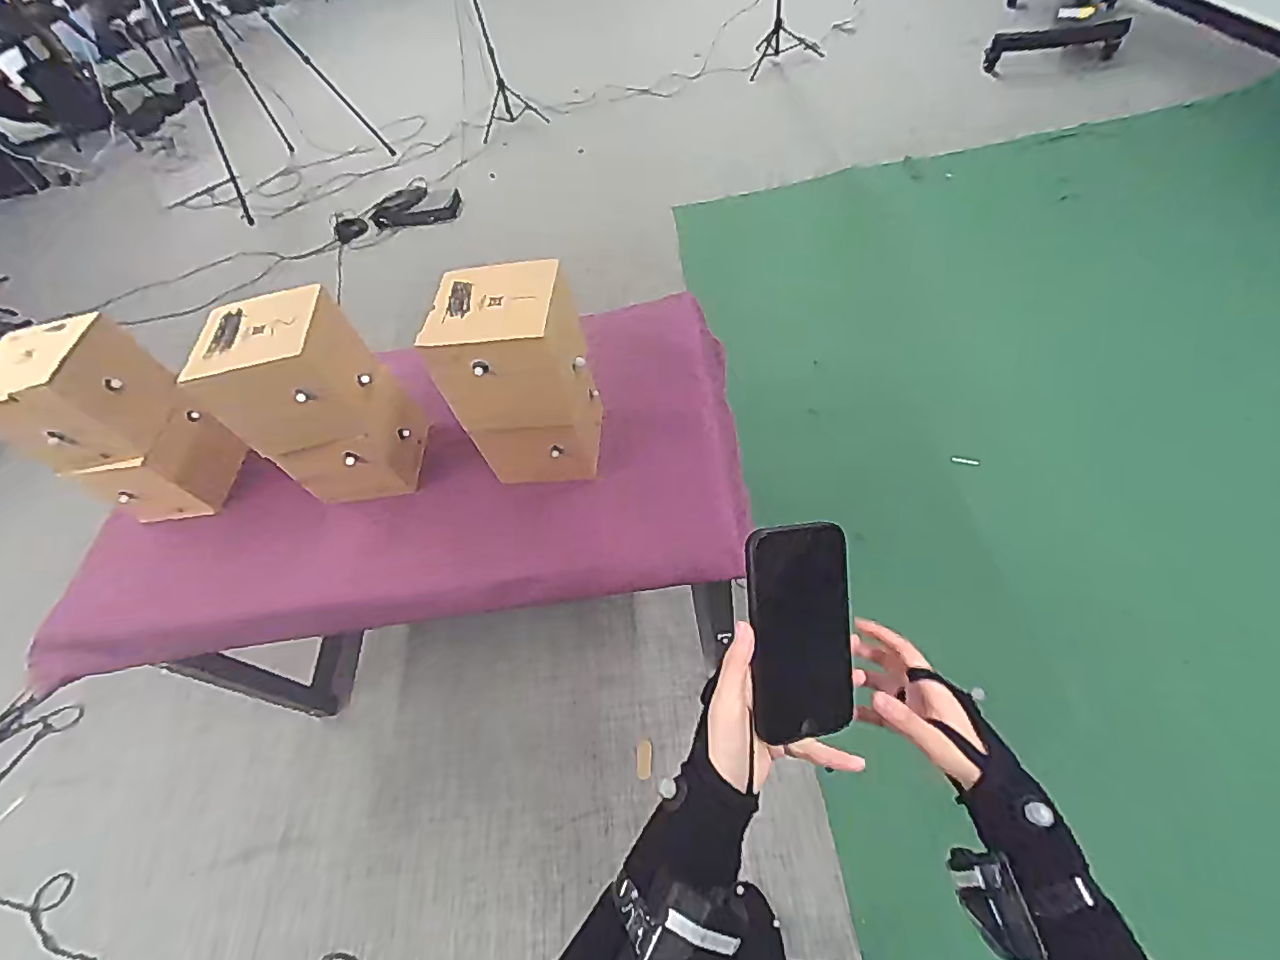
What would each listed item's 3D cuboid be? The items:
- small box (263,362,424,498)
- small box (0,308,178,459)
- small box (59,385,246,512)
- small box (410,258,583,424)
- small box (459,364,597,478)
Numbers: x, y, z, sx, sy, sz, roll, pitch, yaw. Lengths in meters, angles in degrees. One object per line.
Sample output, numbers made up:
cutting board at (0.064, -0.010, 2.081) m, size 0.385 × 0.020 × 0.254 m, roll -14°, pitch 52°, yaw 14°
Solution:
small box at (-0.516, -0.084, 0.973) m, size 0.179 × 0.176 × 0.168 m, roll -7°, pitch 55°, yaw 6°
small box at (-0.928, -0.150, 0.895) m, size 0.168 × 0.176 × 0.179 m, roll -11°, pitch 55°, yaw 2°
small box at (-0.902, -0.051, 1.024) m, size 0.168 × 0.176 × 0.179 m, roll -7°, pitch 55°, yaw 6°
small box at (-0.195, -0.195, 0.790) m, size 0.179 × 0.176 × 0.168 m, roll -2°, pitch 55°, yaw 8°
small box at (-0.179, -0.115, 0.933) m, size 0.179 × 0.176 × 0.168 m, roll -2°, pitch 55°, yaw 10°
